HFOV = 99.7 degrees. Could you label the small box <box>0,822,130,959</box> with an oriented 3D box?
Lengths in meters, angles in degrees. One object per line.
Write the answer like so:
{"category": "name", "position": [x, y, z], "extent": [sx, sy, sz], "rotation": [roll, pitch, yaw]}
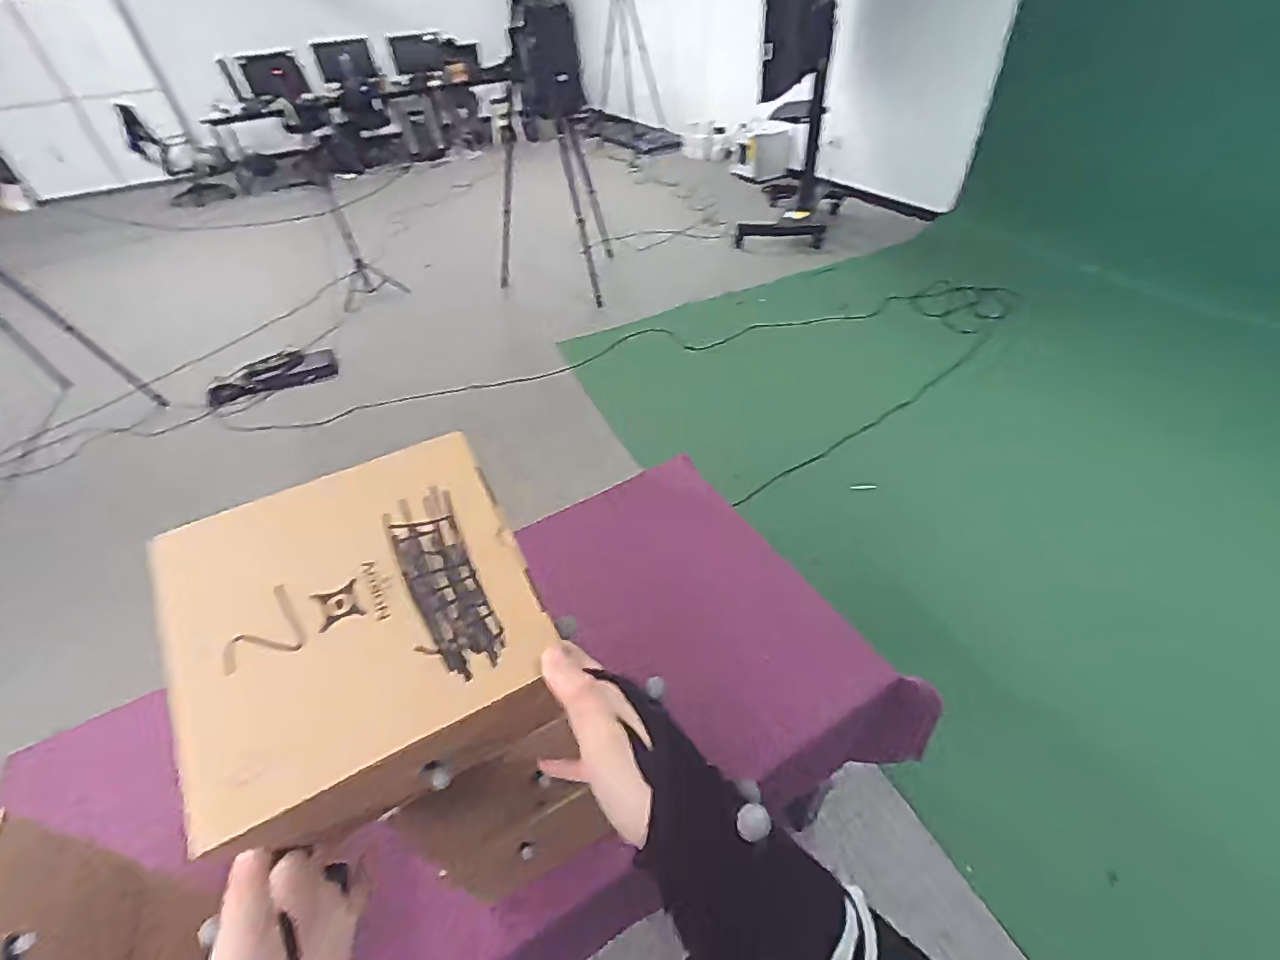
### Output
{"category": "small box", "position": [-0.549, 0.413, 0.416], "extent": [0.168, 0.176, 0.179], "rotation": [-23, 44, -19]}

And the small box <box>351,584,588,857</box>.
{"category": "small box", "position": [-0.166, 0.248, 0.554], "extent": [0.168, 0.176, 0.179], "rotation": [-24, 45, -19]}

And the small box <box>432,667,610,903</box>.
{"category": "small box", "position": [-0.152, 0.371, 0.660], "extent": [0.179, 0.176, 0.168], "rotation": [-22, 46, -17]}
